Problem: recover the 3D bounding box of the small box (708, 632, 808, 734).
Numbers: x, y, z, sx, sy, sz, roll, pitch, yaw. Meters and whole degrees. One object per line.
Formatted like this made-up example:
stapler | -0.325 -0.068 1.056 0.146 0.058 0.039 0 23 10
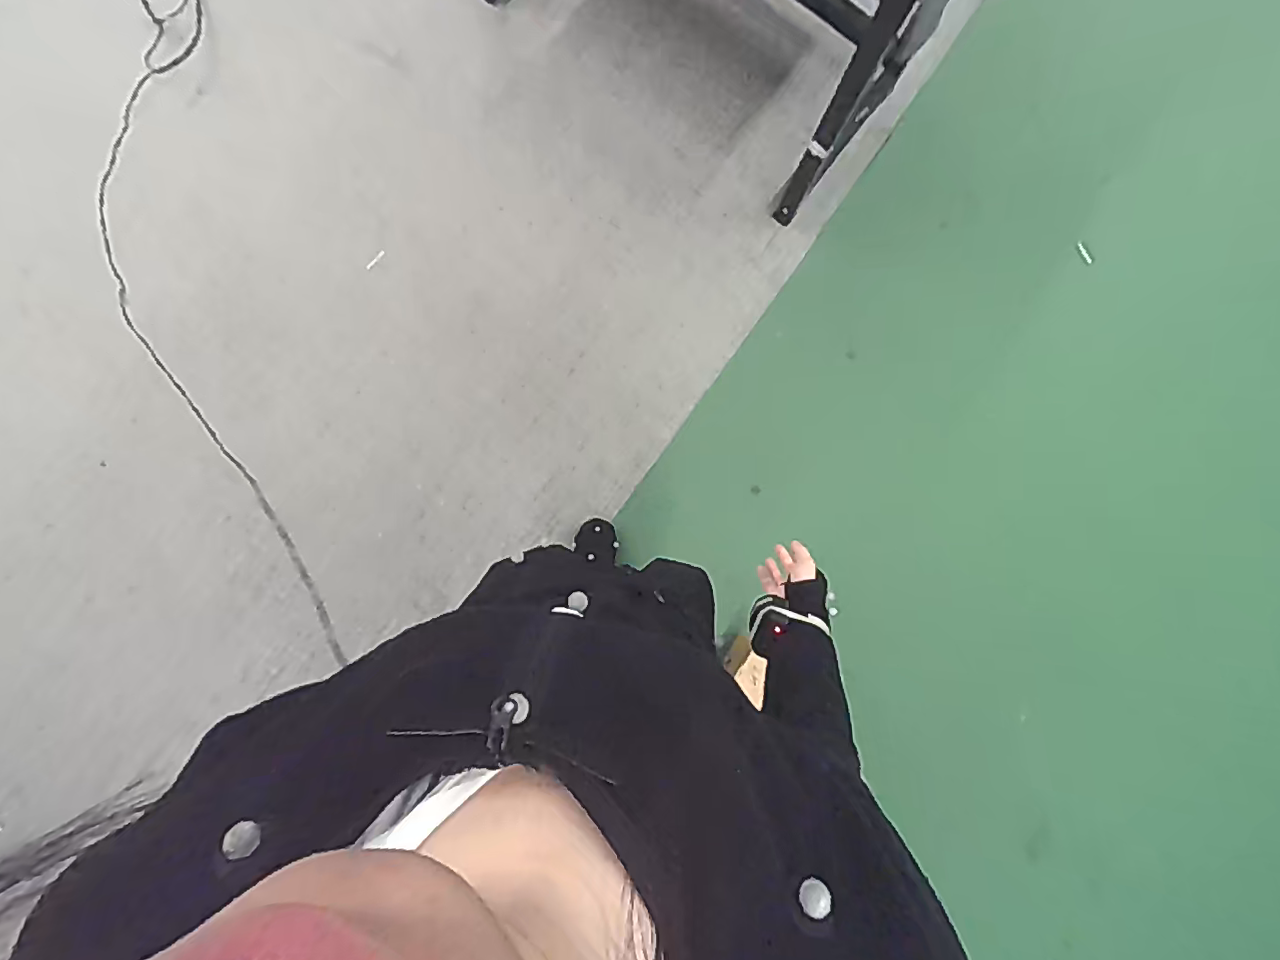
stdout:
small box | 0.301 0.522 1.419 0.179 0.176 0.168 33 84 0
